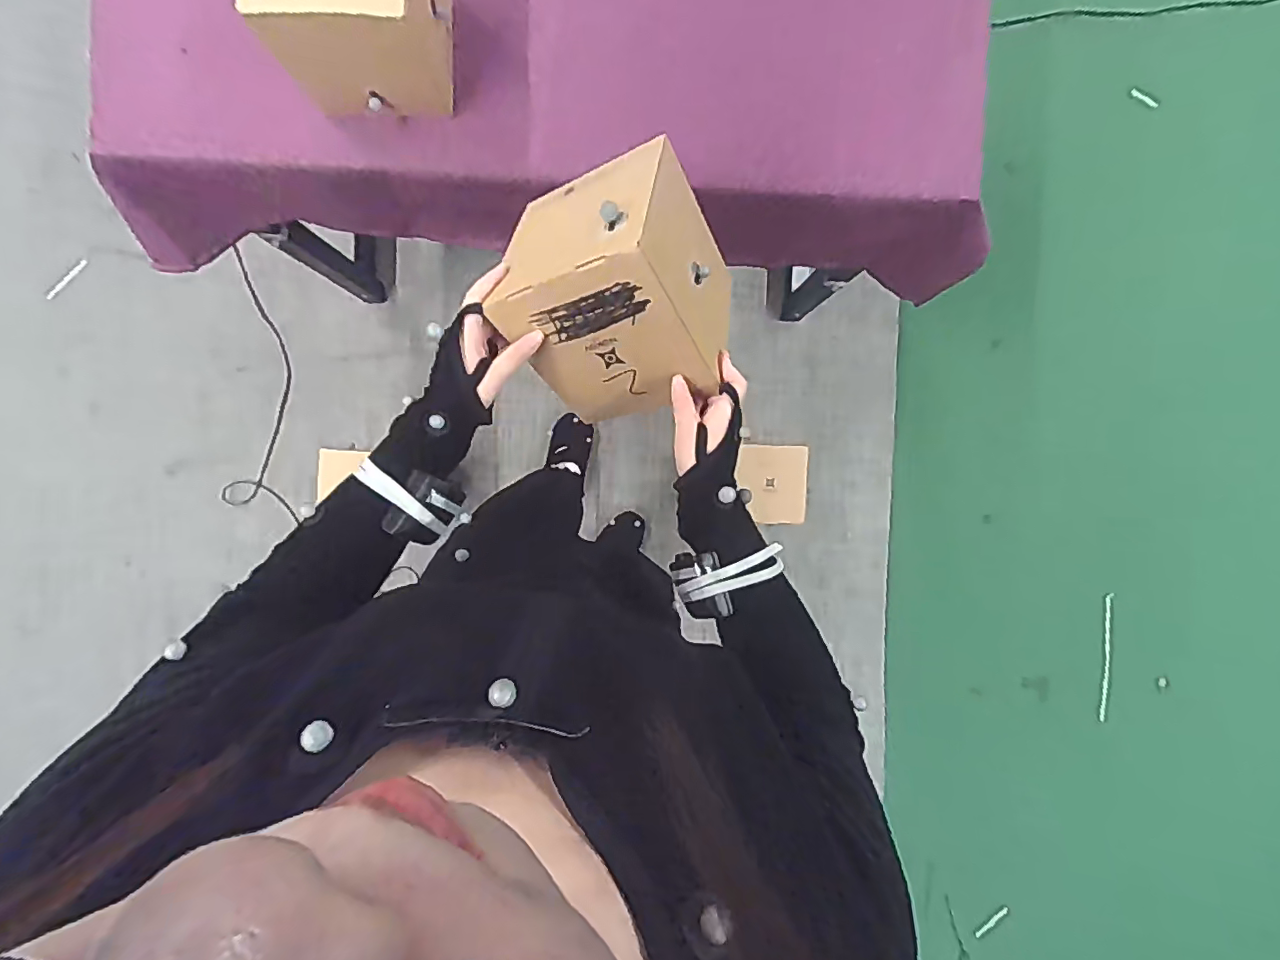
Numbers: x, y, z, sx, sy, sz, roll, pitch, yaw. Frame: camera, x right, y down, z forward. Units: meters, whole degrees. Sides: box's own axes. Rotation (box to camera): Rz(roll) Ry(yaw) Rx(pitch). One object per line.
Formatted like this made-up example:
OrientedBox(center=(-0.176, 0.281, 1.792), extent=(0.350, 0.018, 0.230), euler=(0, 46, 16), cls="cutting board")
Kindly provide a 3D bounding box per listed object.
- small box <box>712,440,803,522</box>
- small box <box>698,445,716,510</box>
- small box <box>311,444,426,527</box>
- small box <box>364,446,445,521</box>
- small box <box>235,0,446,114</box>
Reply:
OrientedBox(center=(0.268, -0.001, 1.267), extent=(0.168, 0.176, 0.179), euler=(2, 92, -5), cls="small box")
OrientedBox(center=(0.249, -0.008, 1.429), extent=(0.179, 0.176, 0.168), euler=(0, 93, -4), cls="small box")
OrientedBox(center=(-0.602, 0.010, 1.216), extent=(0.179, 0.176, 0.168), euler=(4, 93, -4), cls="small box")
OrientedBox(center=(-0.608, 0.006, 1.380), extent=(0.168, 0.176, 0.179), euler=(3, 91, -4), cls="small box")
OrientedBox(center=(-0.337, -0.568, 0.639), extent=(0.179, 0.176, 0.168), euler=(0, 92, -4), cls="small box")
